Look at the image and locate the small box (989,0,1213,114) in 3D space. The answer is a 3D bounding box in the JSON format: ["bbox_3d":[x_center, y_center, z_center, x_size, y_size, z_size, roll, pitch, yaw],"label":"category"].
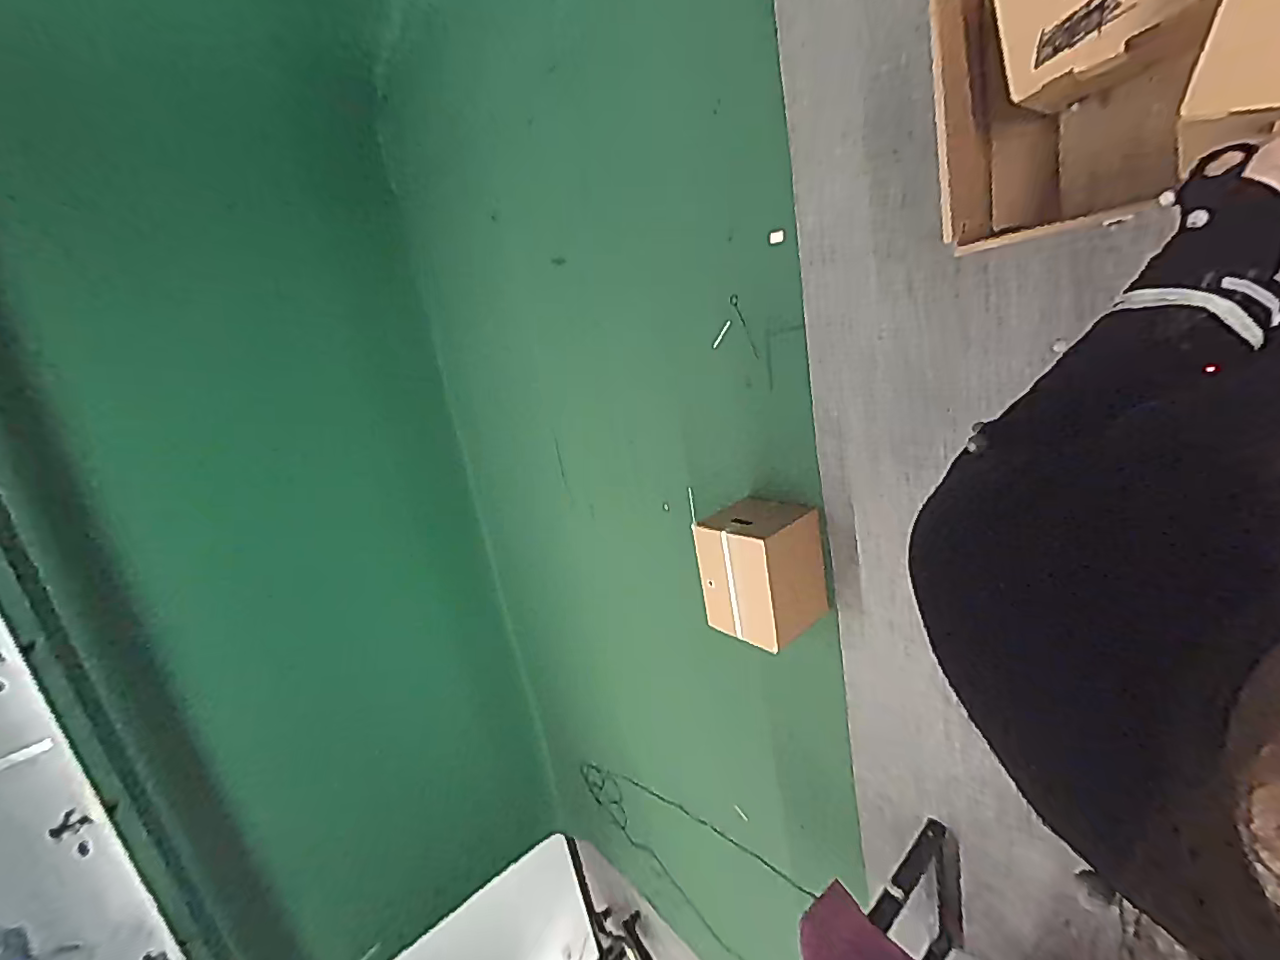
[{"bbox_3d":[0.542,-0.565,0.638,0.168,0.176,0.179,-6,101,53],"label":"small box"}]

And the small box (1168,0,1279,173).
[{"bbox_3d":[0.582,-0.366,0.441,0.168,0.176,0.179,26,113,41],"label":"small box"}]
